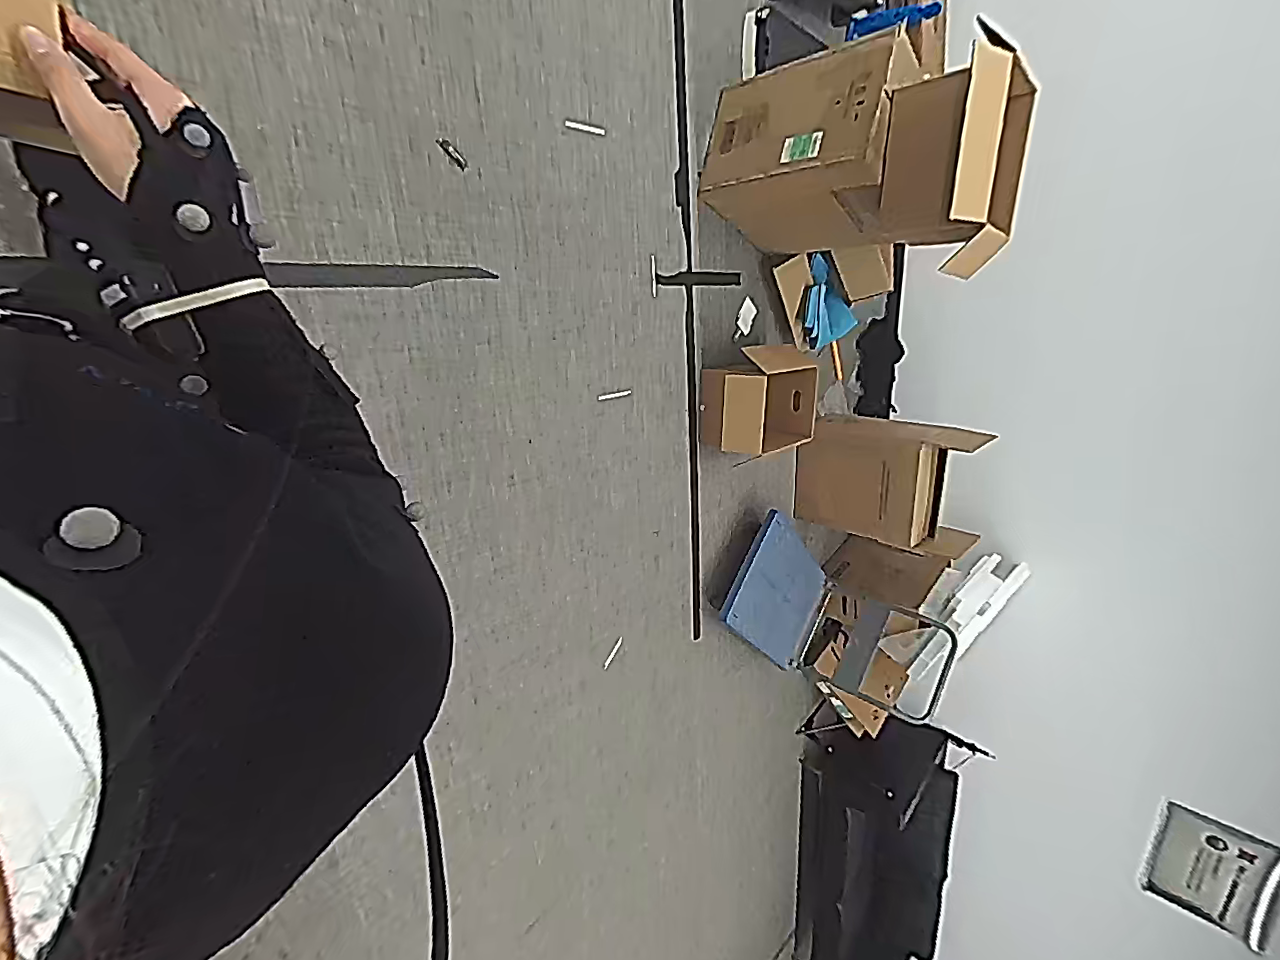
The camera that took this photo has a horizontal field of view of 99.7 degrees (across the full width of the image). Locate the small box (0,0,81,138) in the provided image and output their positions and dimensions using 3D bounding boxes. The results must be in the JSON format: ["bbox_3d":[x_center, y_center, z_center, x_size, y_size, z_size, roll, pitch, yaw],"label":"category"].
[{"bbox_3d":[-0.447,-0.317,0.300,0.179,0.176,0.168,-7,109,-44],"label":"small box"}]
